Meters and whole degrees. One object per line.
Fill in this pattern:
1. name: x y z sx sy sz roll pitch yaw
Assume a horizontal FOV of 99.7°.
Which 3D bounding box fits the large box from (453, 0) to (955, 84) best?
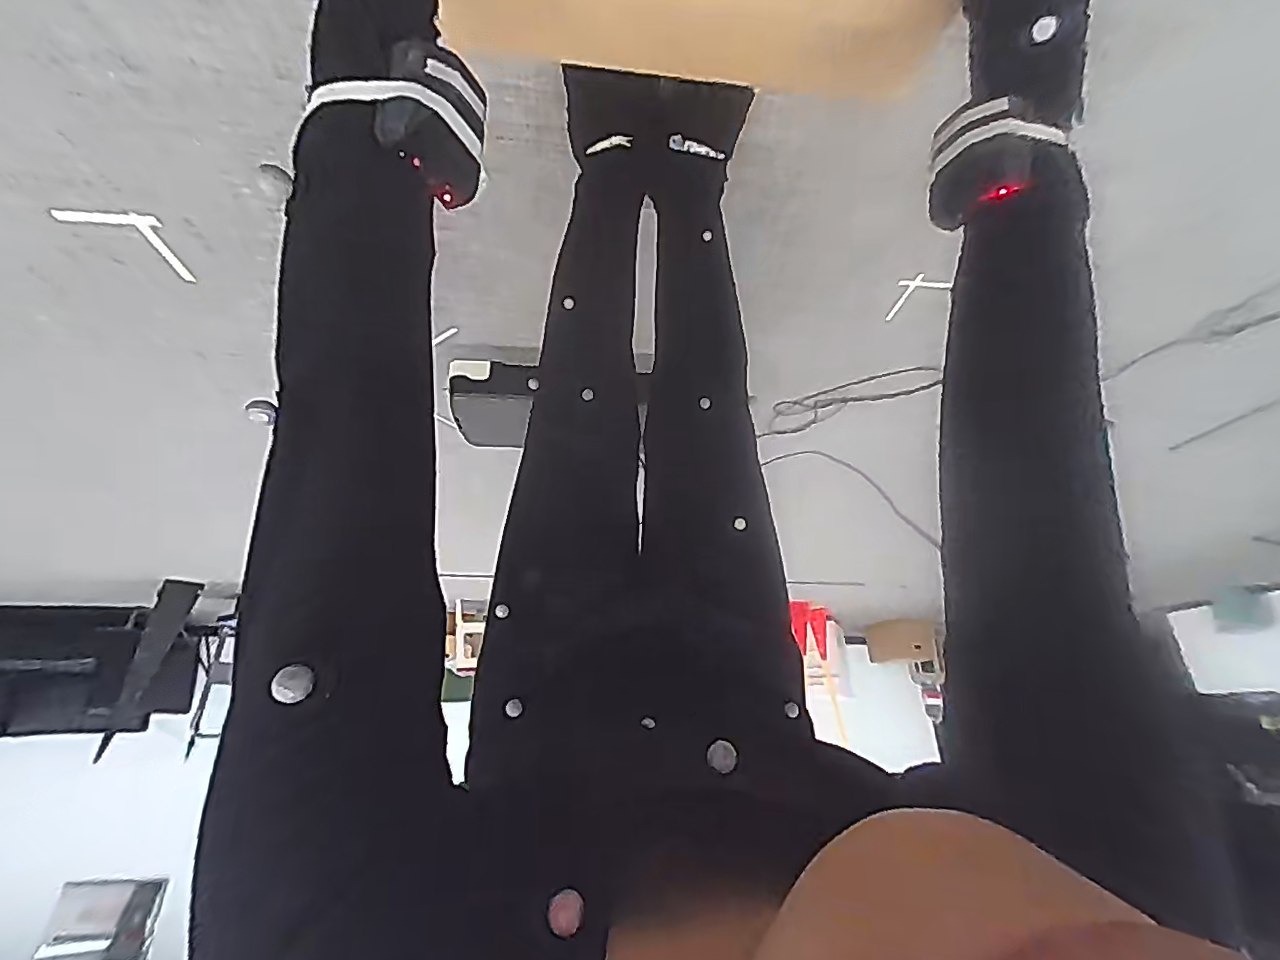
1. large box: 0.057 -0.554 0.386 0.408 0.320 0.320 2 158 -5
